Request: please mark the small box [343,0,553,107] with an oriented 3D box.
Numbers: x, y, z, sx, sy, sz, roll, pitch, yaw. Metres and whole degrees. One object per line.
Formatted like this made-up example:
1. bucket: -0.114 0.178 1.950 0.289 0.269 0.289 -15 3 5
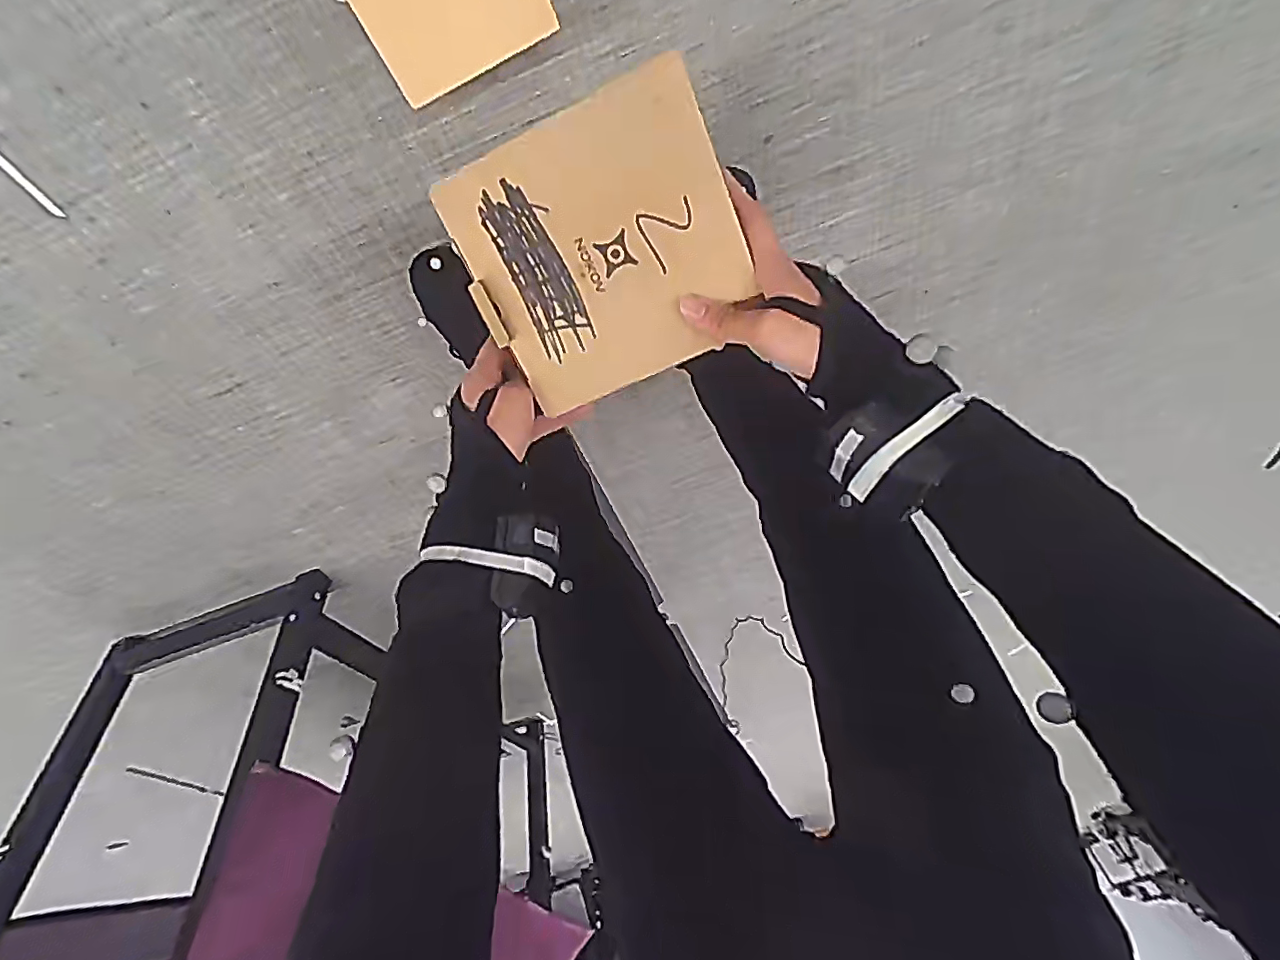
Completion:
1. small box: -0.195 -0.502 0.510 0.168 0.176 0.179 -22 136 9
